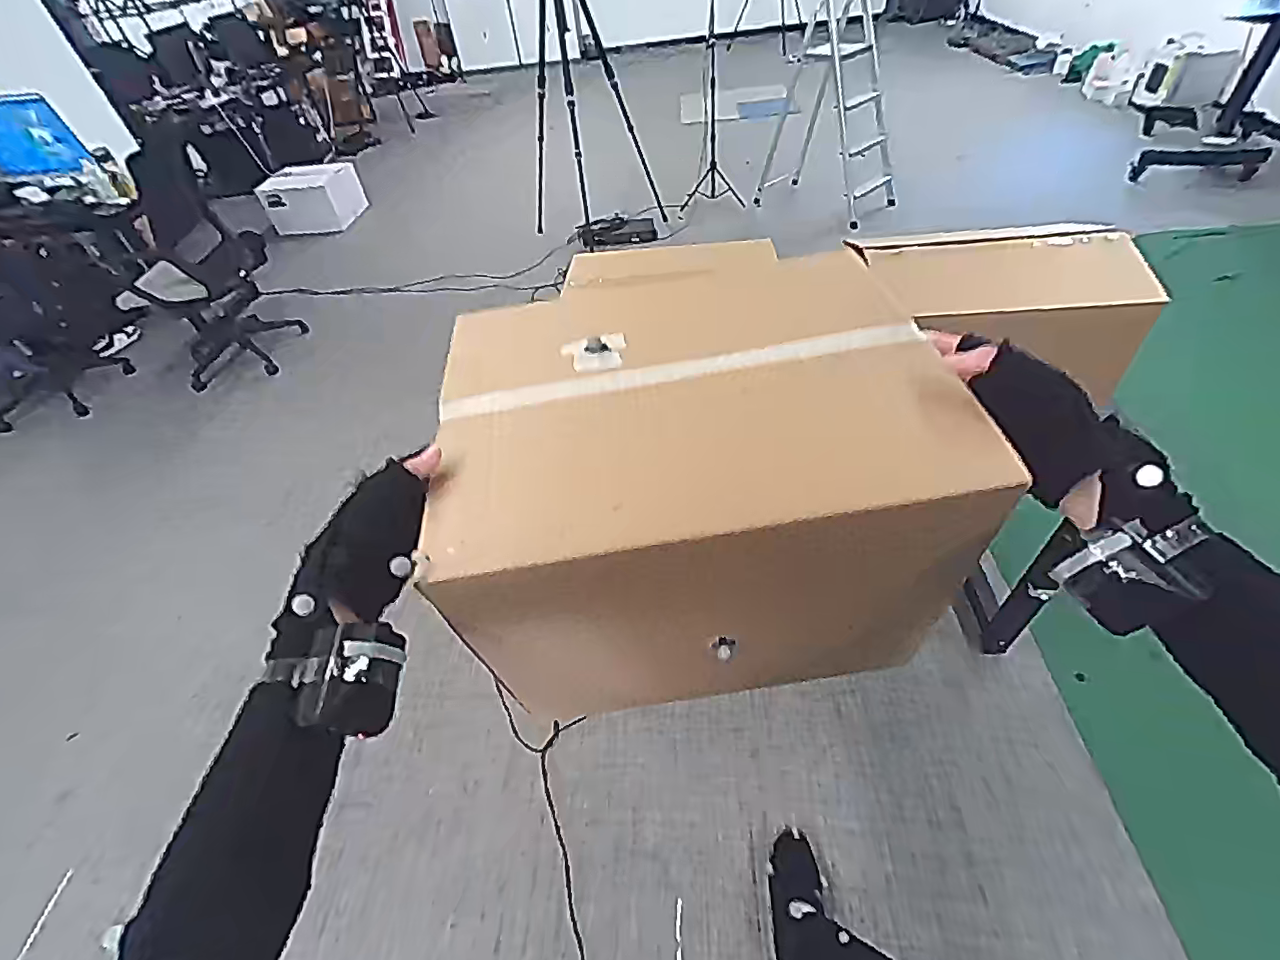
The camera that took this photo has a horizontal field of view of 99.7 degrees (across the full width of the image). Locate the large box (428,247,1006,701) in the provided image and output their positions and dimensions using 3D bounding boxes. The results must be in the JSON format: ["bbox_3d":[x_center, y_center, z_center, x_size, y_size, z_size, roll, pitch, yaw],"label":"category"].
[{"bbox_3d":[0.052,0.006,0.569,0.408,0.320,0.320,-9,50,1],"label":"large box"}]
